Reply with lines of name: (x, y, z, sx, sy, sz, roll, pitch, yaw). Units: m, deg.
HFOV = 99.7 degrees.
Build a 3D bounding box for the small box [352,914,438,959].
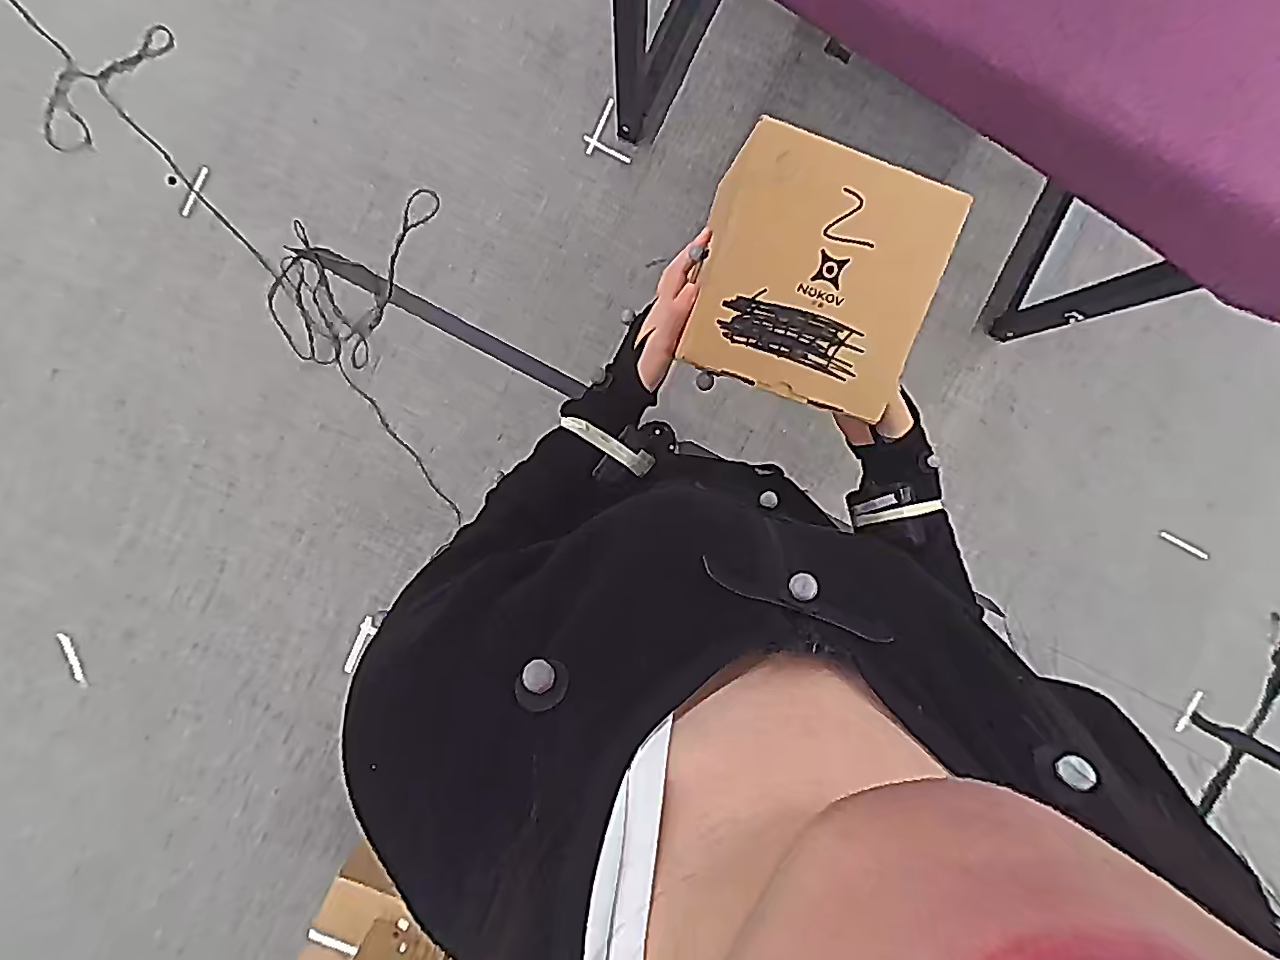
small box: (-0.572, 1.125, 1.190, 0.168, 0.176, 0.179, 24, 93, -3)
